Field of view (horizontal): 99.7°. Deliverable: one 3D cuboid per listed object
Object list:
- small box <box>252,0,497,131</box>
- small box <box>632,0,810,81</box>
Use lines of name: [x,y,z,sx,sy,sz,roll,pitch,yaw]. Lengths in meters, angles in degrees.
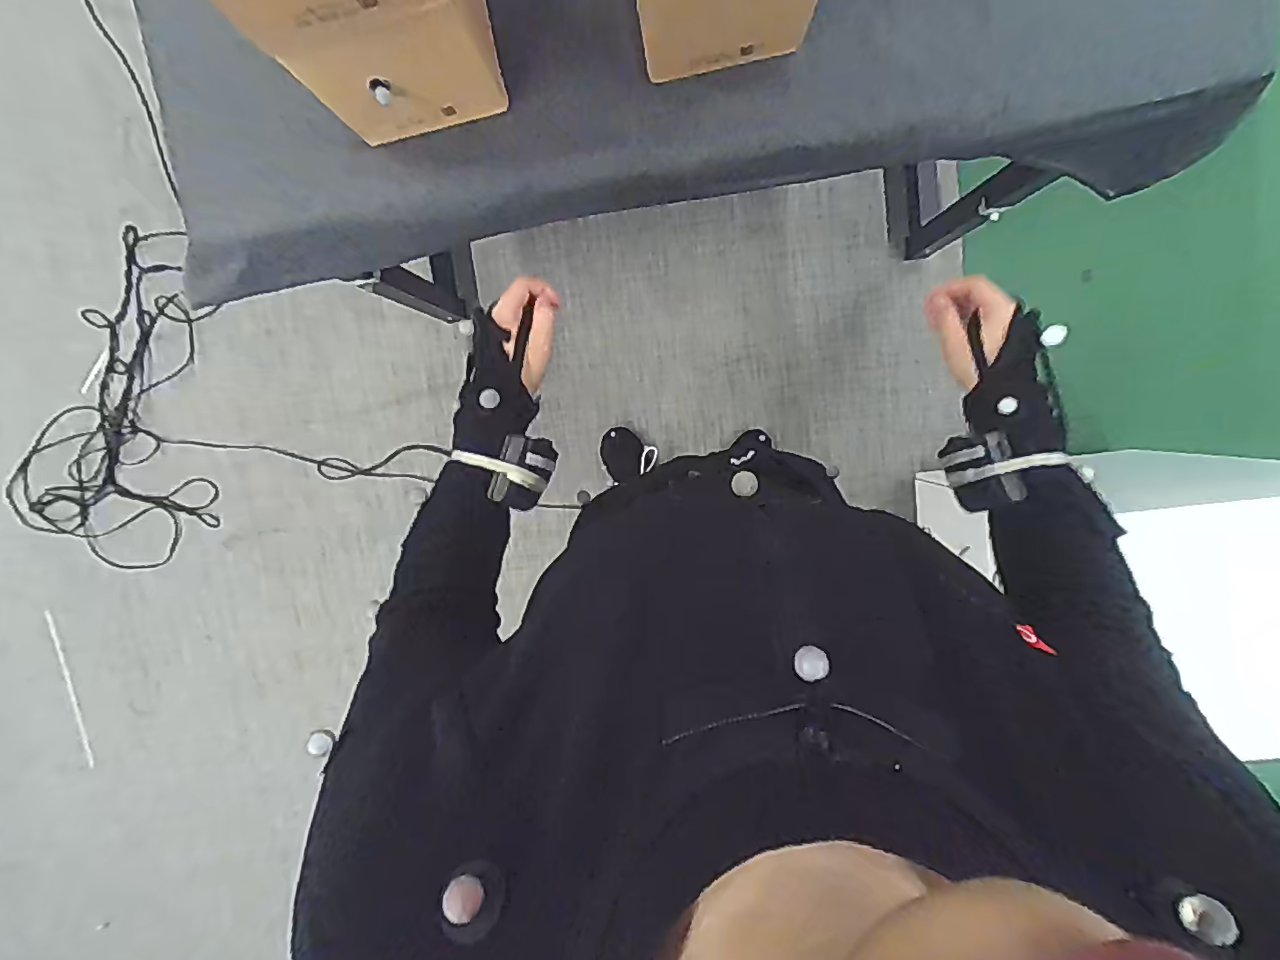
small box: [-0.251,-0.467,0.514,0.168,0.176,0.179,-12,96,3]
small box: [0.068,-0.522,0.498,0.168,0.176,0.179,-10,96,3]
